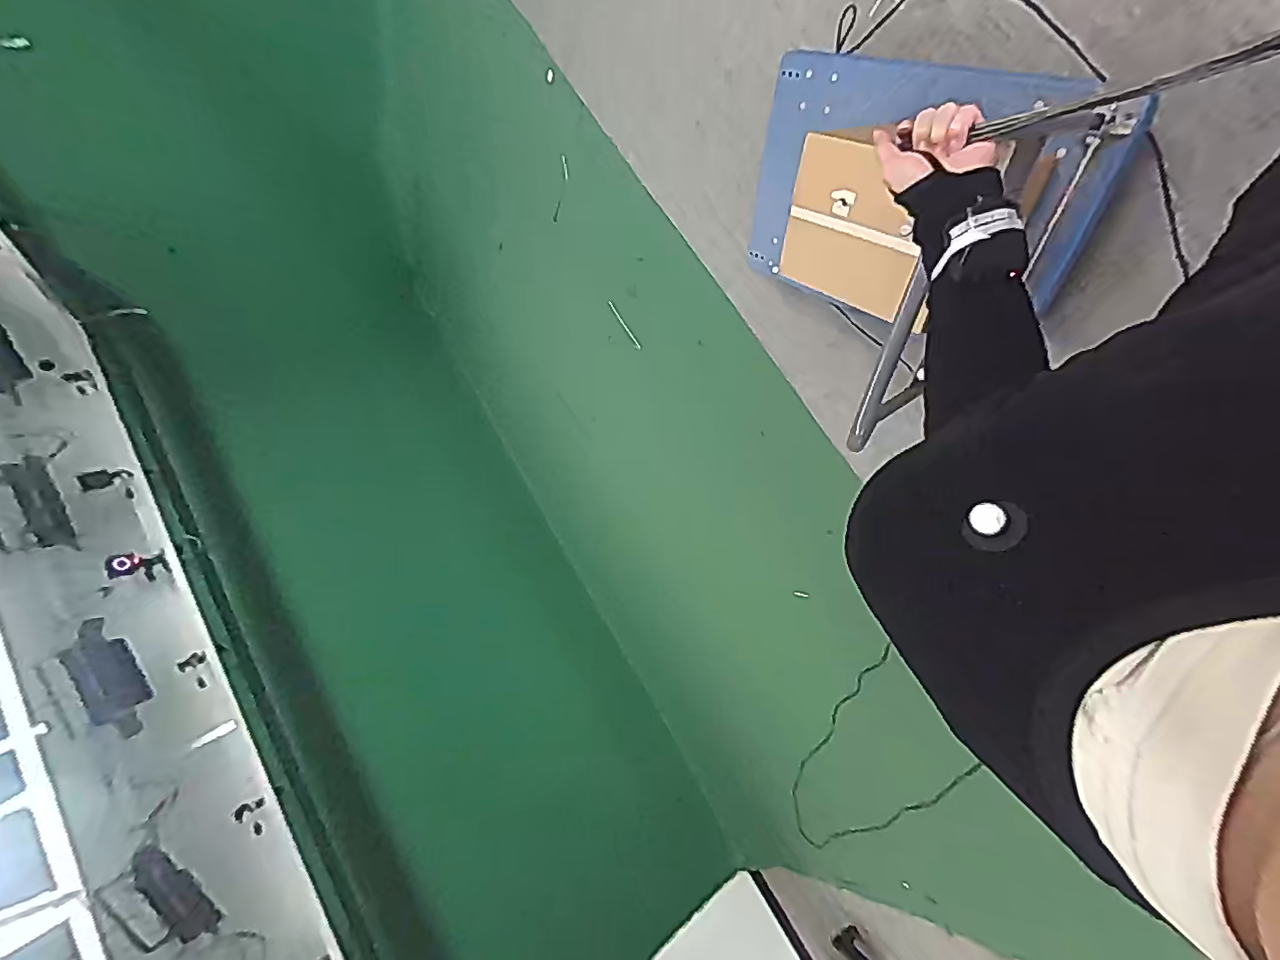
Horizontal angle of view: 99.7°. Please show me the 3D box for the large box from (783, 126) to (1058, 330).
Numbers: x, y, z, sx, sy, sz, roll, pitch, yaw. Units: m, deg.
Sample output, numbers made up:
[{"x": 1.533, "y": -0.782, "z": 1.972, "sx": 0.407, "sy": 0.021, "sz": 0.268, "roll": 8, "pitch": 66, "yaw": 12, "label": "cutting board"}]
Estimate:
[{"x": 0.605, "y": -0.587, "z": 1.226, "sx": 0.408, "sy": 0.320, "sz": 0.320, "roll": 42, "pitch": 143, "yaw": 36, "label": "large box"}]
